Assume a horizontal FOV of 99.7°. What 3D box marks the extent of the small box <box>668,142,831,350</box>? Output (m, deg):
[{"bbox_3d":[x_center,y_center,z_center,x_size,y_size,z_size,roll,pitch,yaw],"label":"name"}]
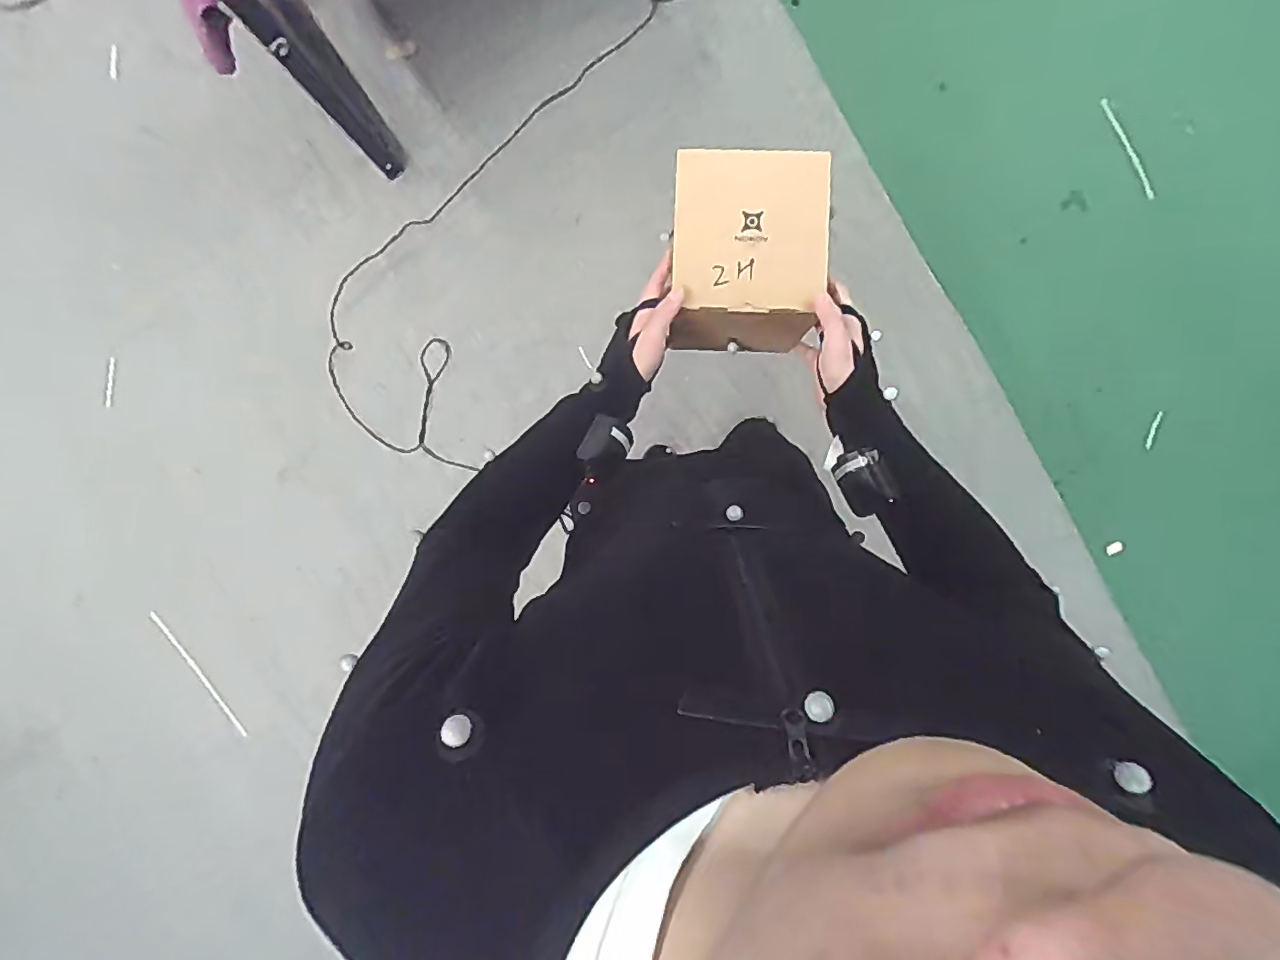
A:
[{"bbox_3d":[0.120,-0.268,0.648,0.168,0.176,0.179,1,88,3],"label":"small box"}]
